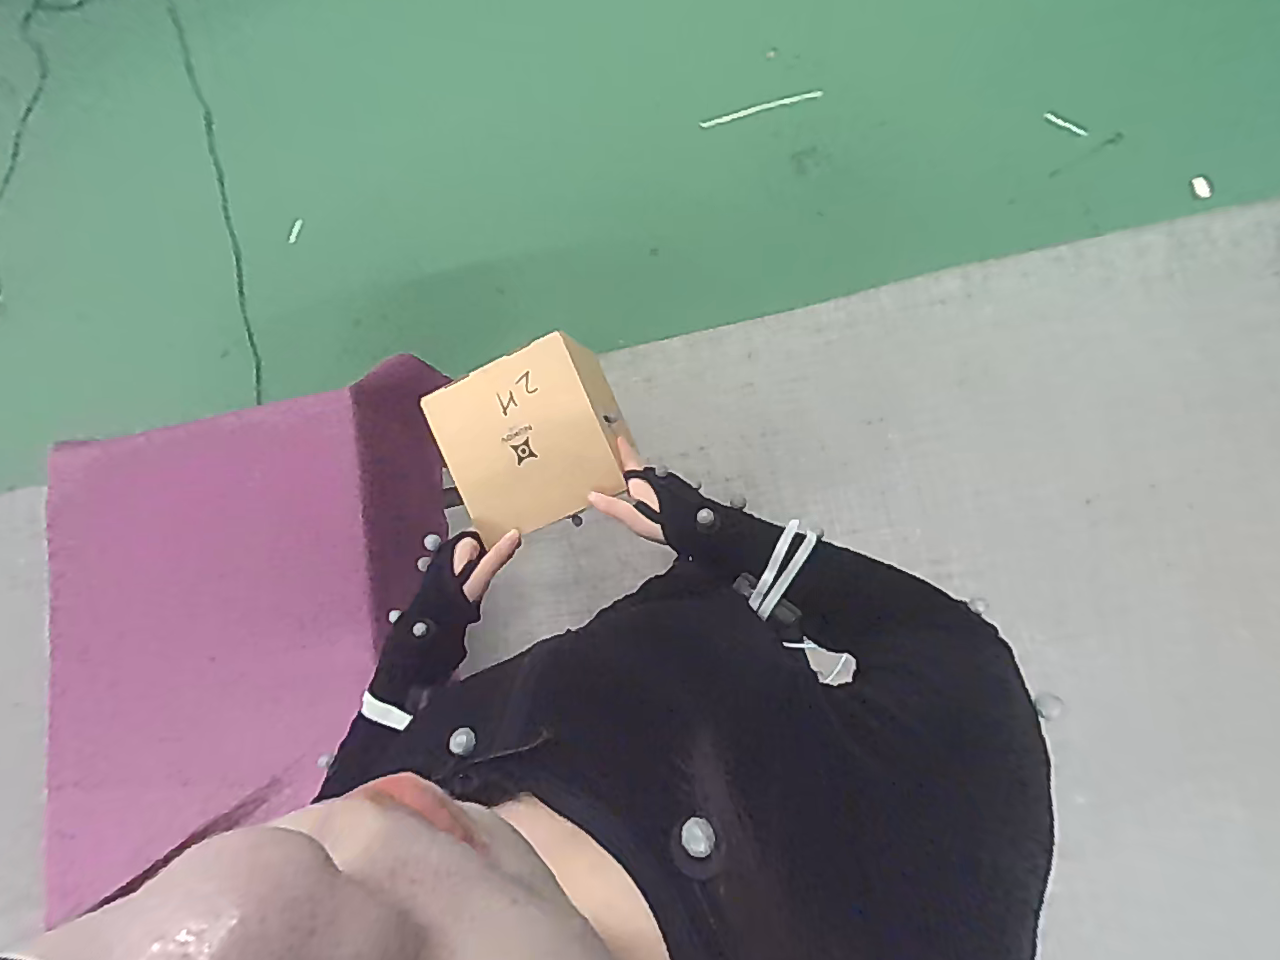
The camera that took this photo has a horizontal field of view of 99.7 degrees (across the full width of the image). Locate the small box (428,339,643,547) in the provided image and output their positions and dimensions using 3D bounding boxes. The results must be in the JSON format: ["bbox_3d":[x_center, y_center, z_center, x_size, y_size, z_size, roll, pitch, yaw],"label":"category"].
[{"bbox_3d":[-0.108,-0.043,0.639,0.168,0.176,0.179,-22,91,9],"label":"small box"}]
